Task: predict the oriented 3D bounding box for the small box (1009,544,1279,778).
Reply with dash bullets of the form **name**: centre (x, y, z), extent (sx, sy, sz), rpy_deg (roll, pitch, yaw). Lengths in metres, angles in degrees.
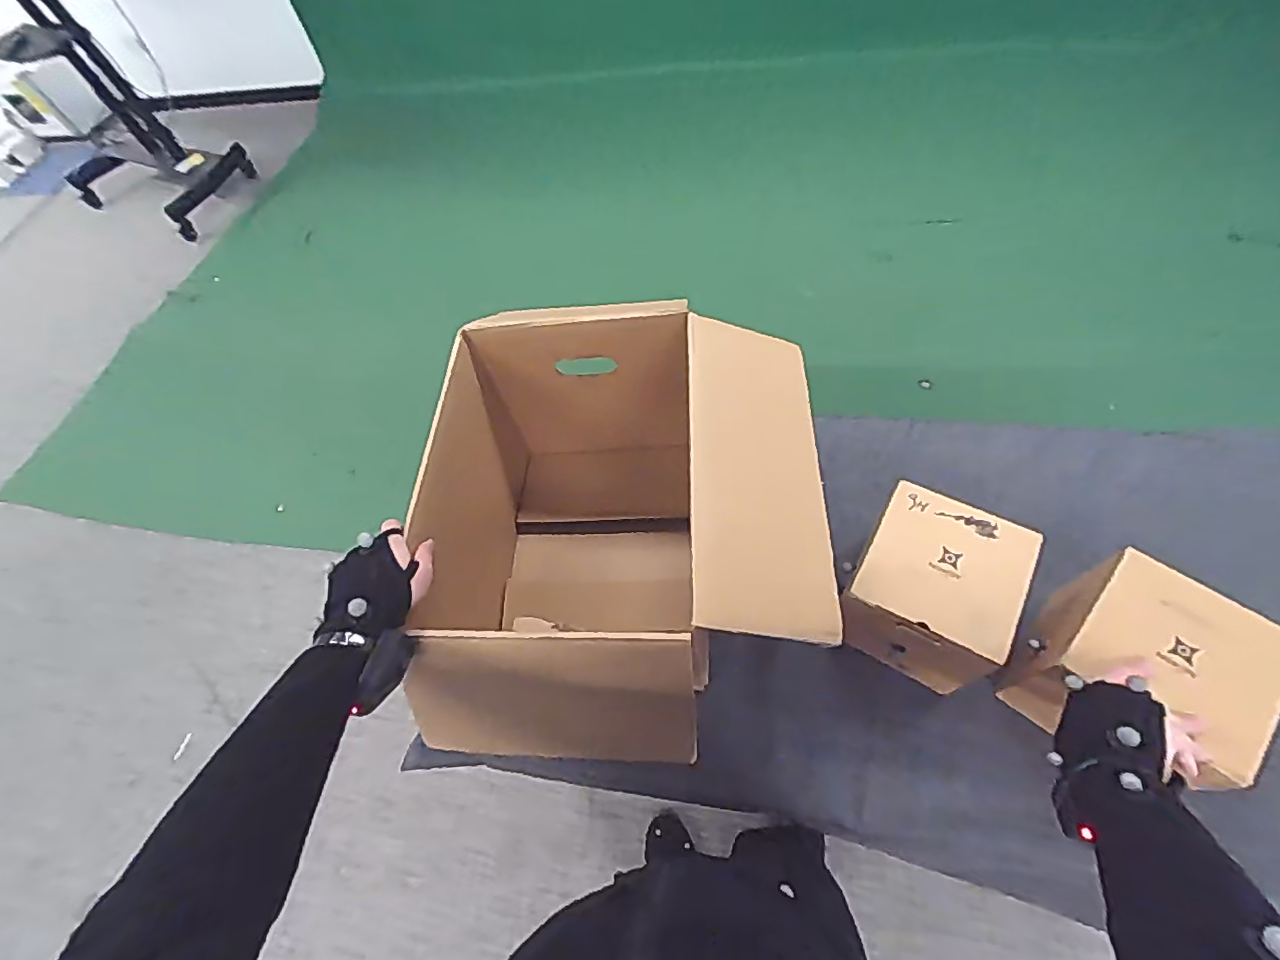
- **small box**: centre (0.564, 0.212, 0.615), extent (0.168, 0.176, 0.179), rpy_deg (35, 70, 24)
